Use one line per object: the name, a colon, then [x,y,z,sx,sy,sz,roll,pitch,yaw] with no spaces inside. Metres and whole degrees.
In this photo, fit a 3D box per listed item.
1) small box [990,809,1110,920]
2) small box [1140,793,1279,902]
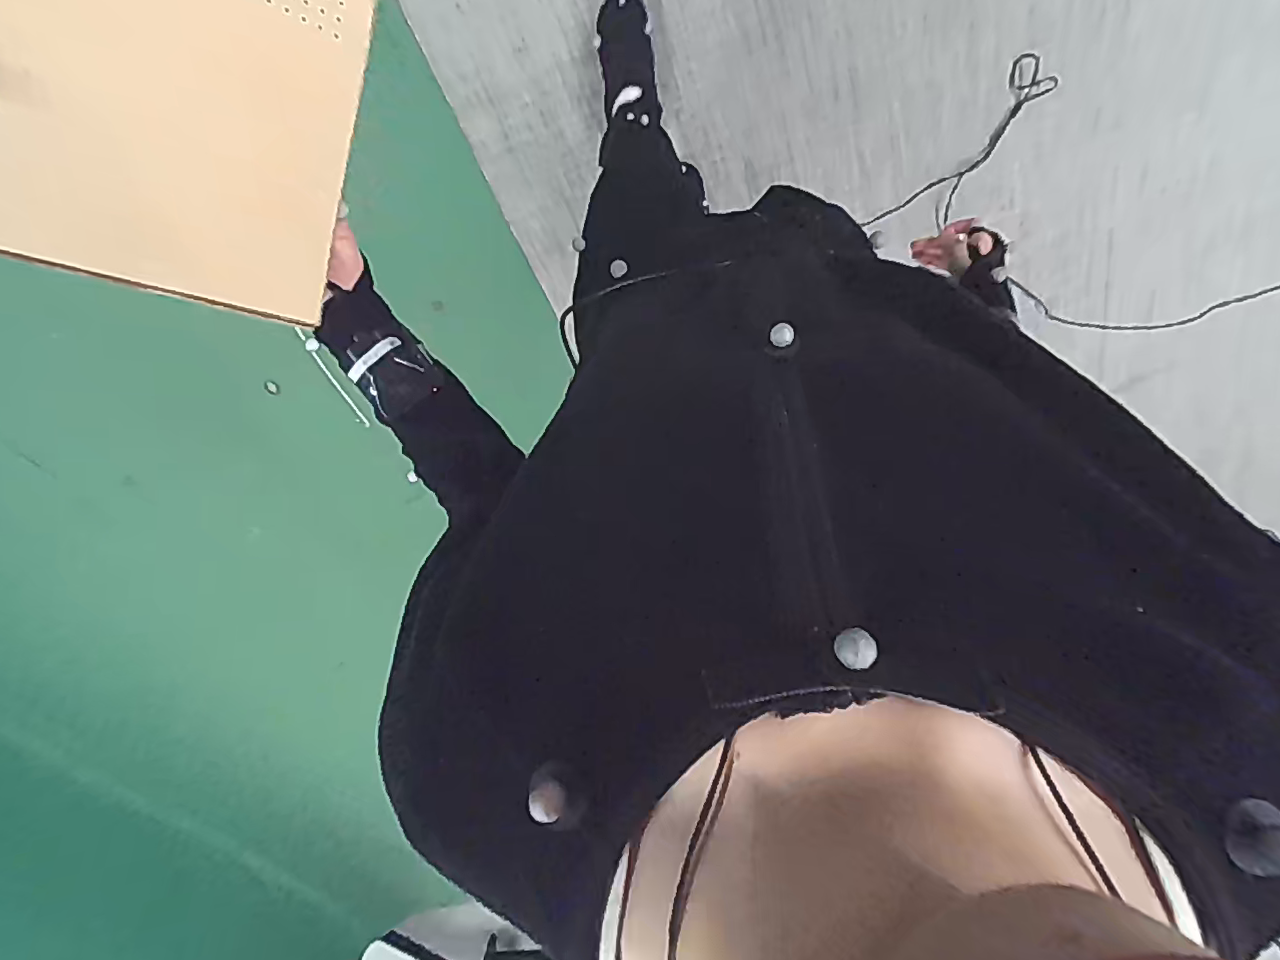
small box: [1.009,0.950,1.343,0.179,0.176,0.168,-18,119,11]
small box: [1.366,0.868,1.285,0.179,0.176,0.168,-6,122,6]
